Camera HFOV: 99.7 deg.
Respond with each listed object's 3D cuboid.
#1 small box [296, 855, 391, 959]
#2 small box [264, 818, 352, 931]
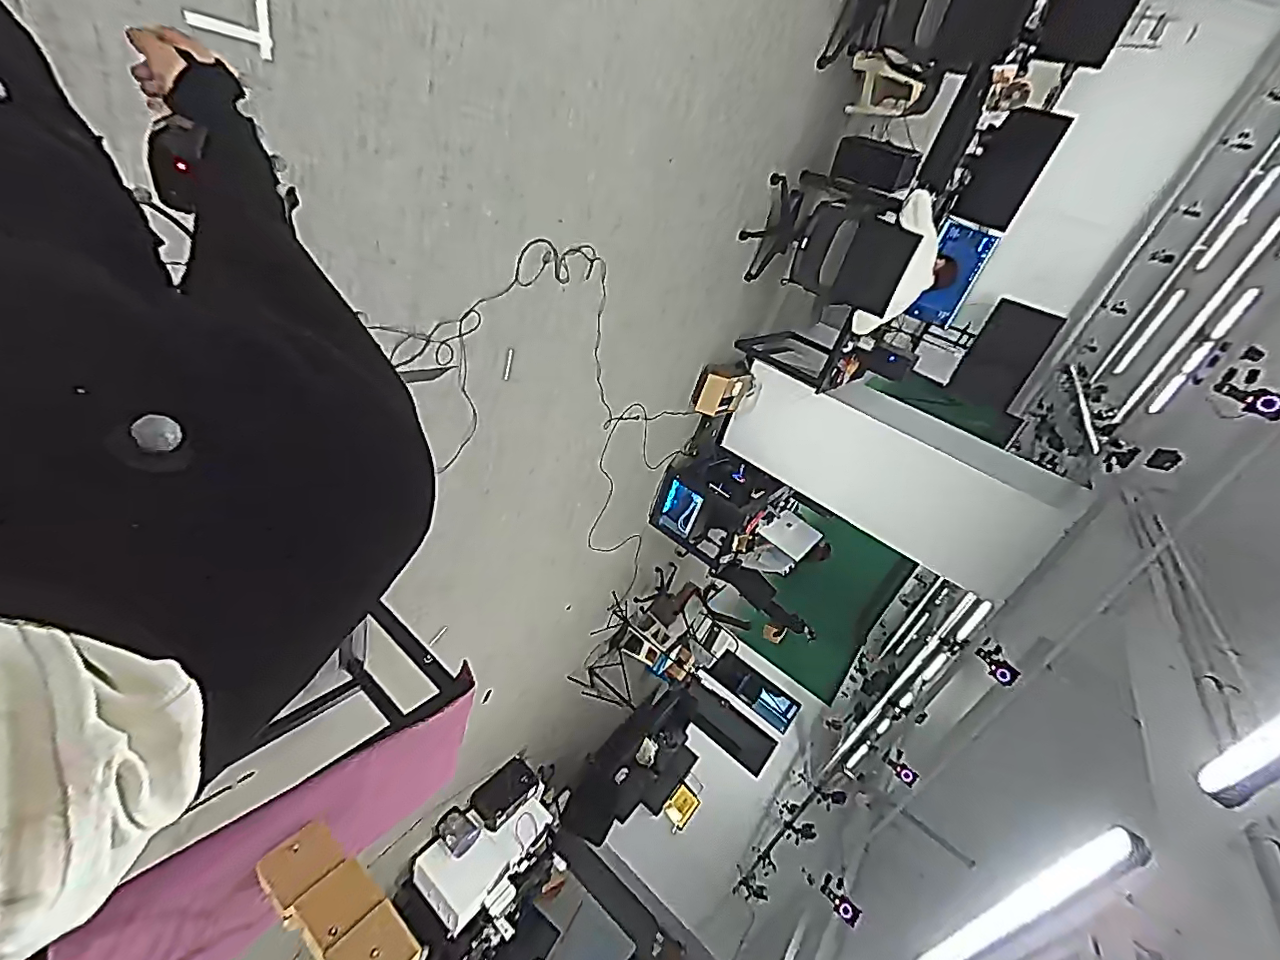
[{"bbox_3d":[-0.832,1.214,1.521,0.179,0.176,0.168,-26,143,-48],"label":"small box"},{"bbox_3d":[-0.969,1.144,1.577,0.179,0.176,0.168,-26,144,-48],"label":"small box"}]
